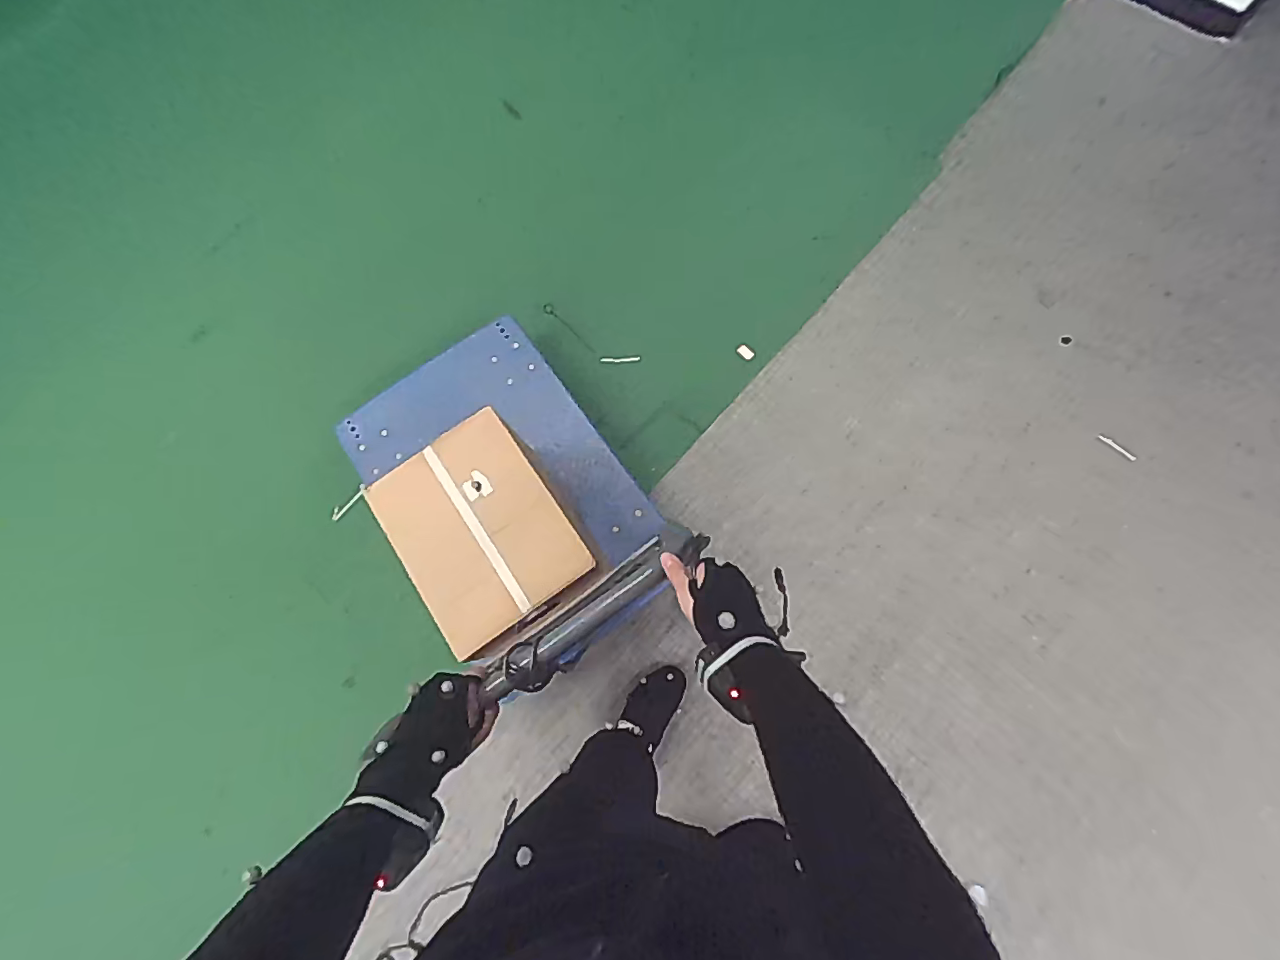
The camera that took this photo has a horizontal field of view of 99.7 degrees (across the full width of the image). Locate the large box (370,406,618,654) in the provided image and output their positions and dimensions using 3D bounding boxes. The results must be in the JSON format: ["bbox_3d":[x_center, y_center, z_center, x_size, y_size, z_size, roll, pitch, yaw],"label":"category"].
[{"bbox_3d":[-0.299,0.121,1.201,0.320,0.320,0.408,-35,75,-5],"label":"large box"}]
